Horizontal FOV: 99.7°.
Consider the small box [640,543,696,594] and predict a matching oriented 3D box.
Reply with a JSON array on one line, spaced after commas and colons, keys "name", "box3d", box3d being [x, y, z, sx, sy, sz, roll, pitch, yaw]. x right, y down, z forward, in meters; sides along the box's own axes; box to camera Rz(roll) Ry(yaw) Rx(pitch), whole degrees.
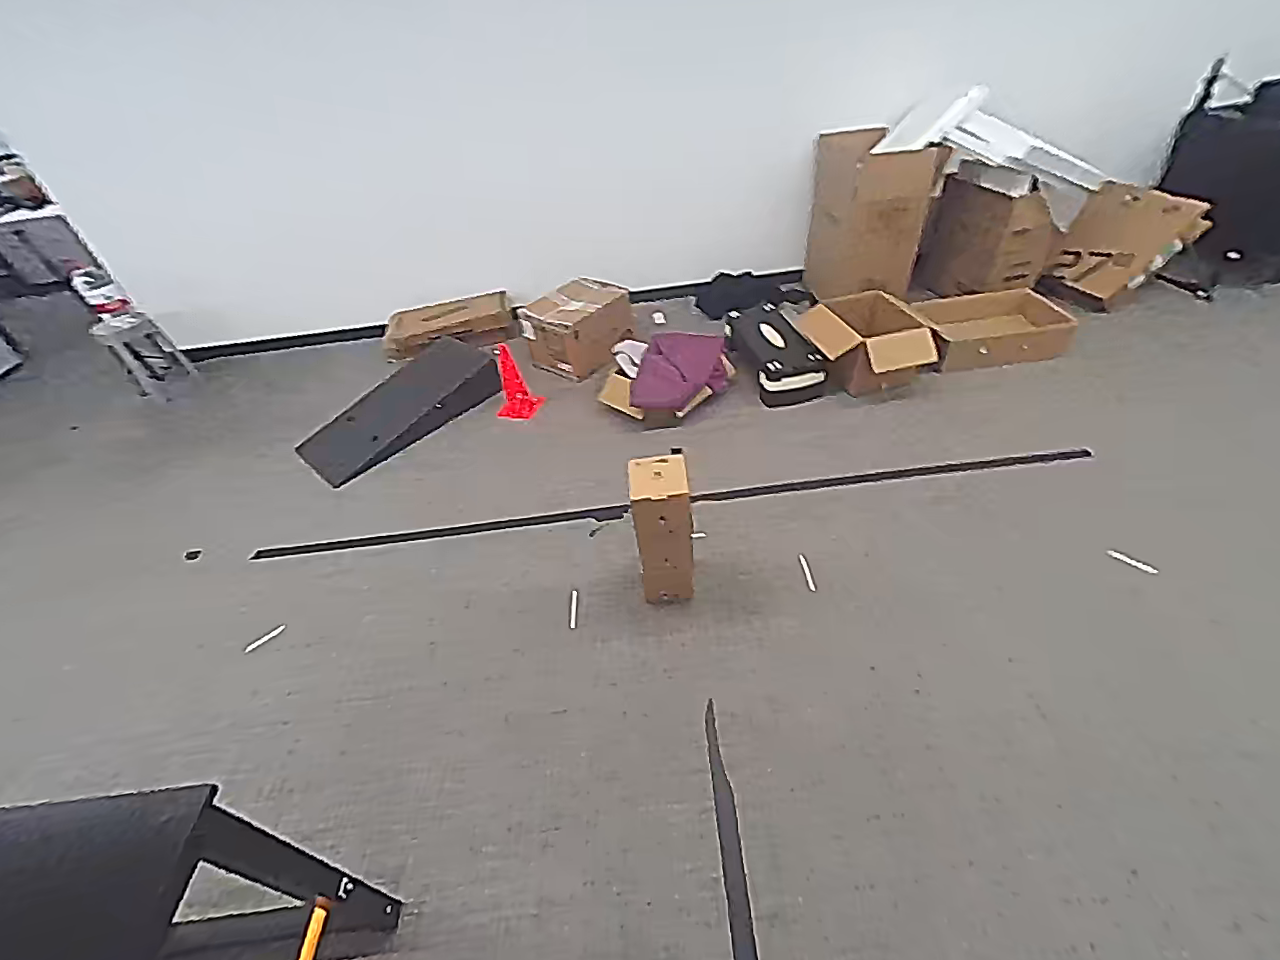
[{"name": "small box", "box3d": [0.089, 0.243, 1.742, 0.168, 0.176, 0.179, -7, 43, 2]}]

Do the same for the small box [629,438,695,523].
[{"name": "small box", "box3d": [0.061, 0.007, 1.514, 0.168, 0.176, 0.179, -7, 42, 3]}]

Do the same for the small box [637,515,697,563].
[{"name": "small box", "box3d": [0.080, 0.126, 1.625, 0.168, 0.176, 0.179, -7, 42, 3]}]
